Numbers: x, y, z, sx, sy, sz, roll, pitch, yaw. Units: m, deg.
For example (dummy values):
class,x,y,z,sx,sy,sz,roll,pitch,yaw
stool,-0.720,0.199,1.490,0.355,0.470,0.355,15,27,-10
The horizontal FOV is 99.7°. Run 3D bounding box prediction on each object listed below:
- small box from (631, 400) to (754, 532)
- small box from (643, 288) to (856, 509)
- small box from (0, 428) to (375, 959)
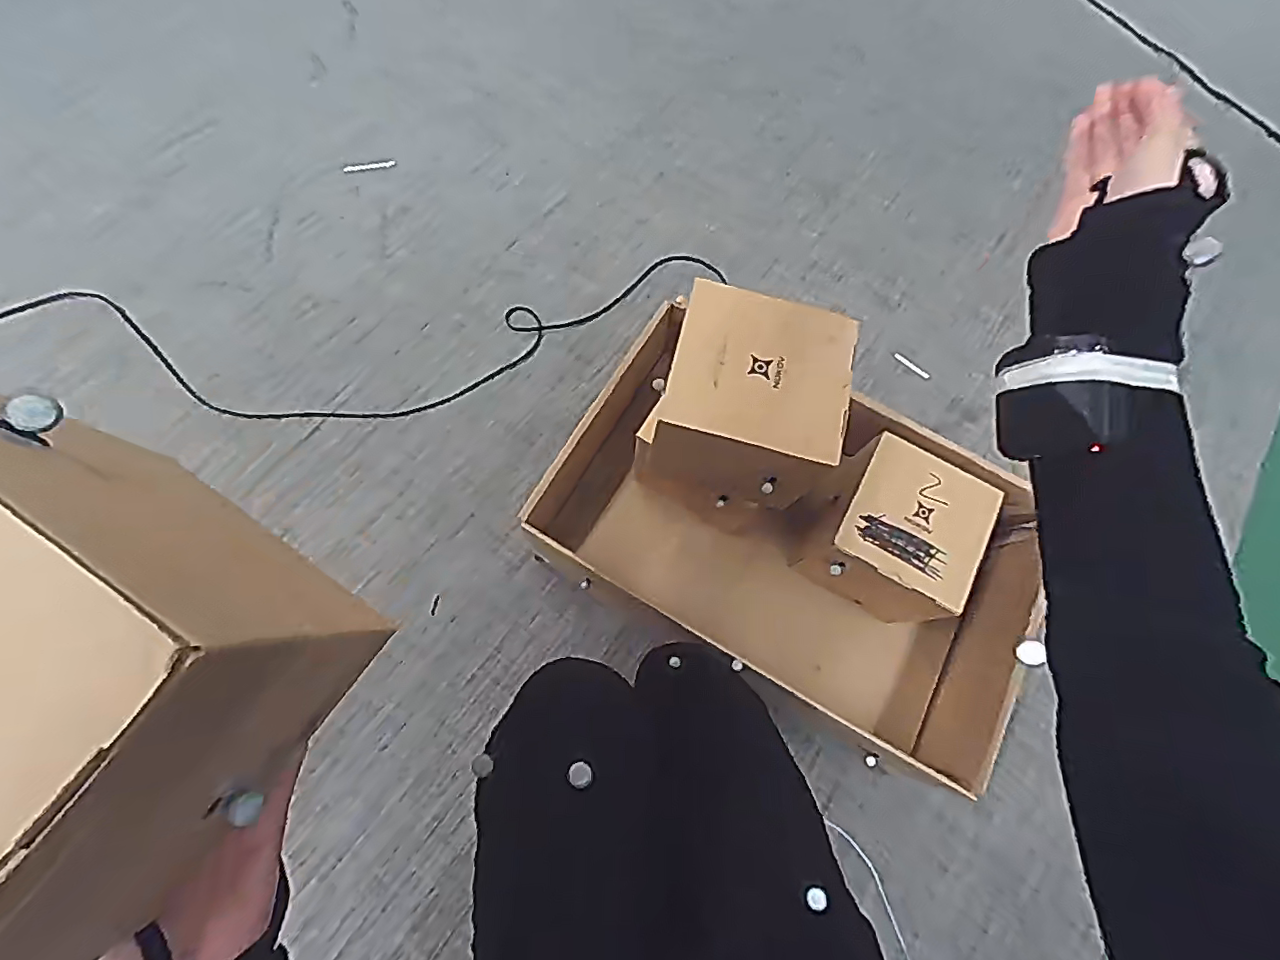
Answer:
class,x,y,z,sx,sy,sz,roll,pitch,yaw
small box,0.100,-0.045,0.761,0.179,0.176,0.168,31,73,5
small box,0.110,-0.076,0.600,0.179,0.176,0.168,15,73,1
small box,-0.254,0.091,0.219,0.179,0.176,0.168,35,76,3
